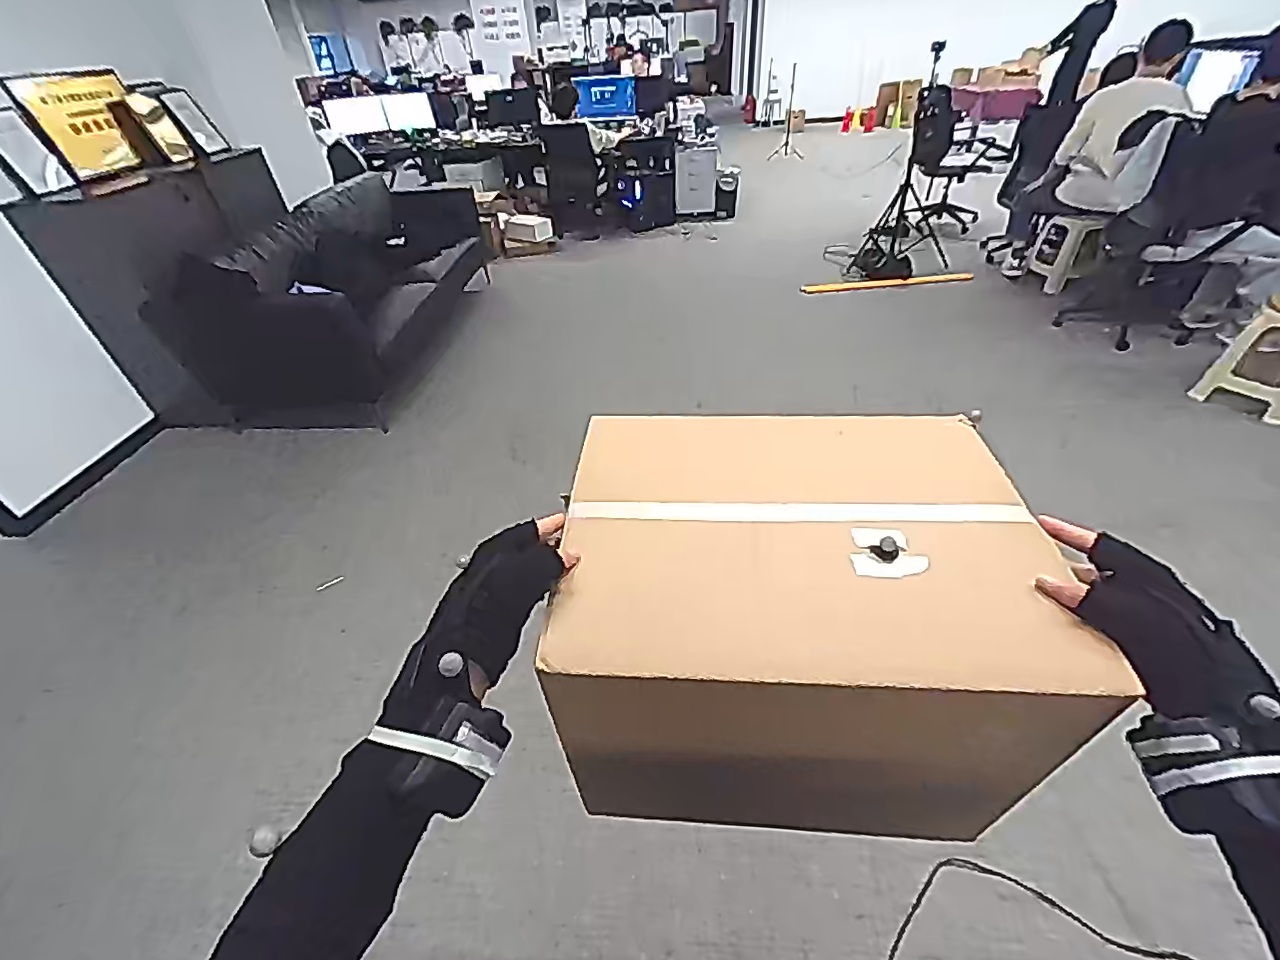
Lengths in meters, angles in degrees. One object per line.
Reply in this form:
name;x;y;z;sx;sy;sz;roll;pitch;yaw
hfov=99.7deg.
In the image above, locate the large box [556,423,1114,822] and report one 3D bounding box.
large box;0.145;0.148;0.593;0.408;0.320;0.320;1;42;4
